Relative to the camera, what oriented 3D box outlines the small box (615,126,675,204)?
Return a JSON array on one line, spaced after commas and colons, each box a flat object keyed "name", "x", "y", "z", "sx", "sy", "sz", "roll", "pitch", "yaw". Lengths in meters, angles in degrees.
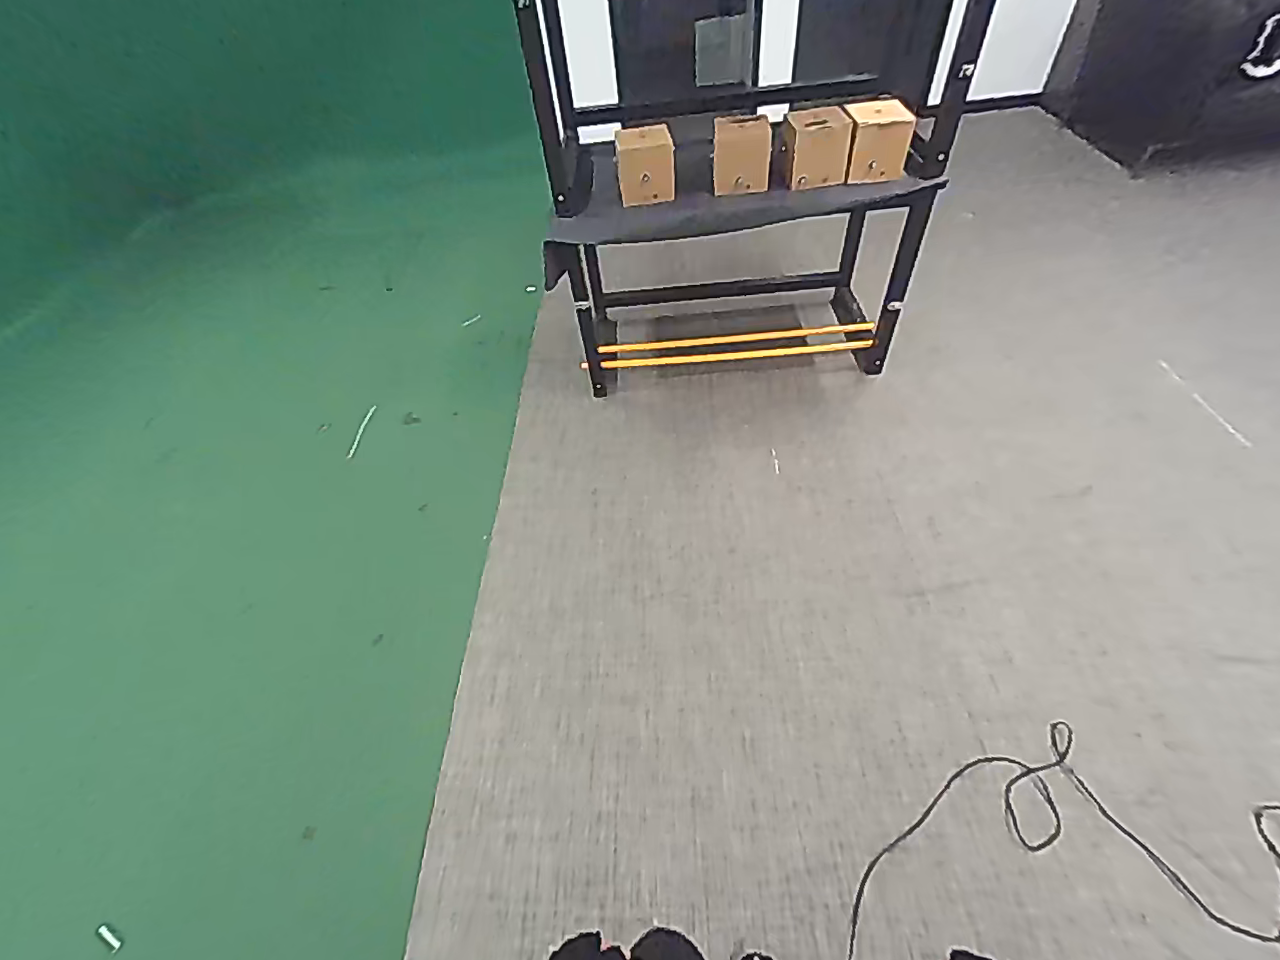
[{"name": "small box", "x": 0.017, "y": -0.991, "z": 1.715, "sx": 0.168, "sy": 0.176, "sz": 0.179, "roll": -7, "pitch": 48, "yaw": 0}]
